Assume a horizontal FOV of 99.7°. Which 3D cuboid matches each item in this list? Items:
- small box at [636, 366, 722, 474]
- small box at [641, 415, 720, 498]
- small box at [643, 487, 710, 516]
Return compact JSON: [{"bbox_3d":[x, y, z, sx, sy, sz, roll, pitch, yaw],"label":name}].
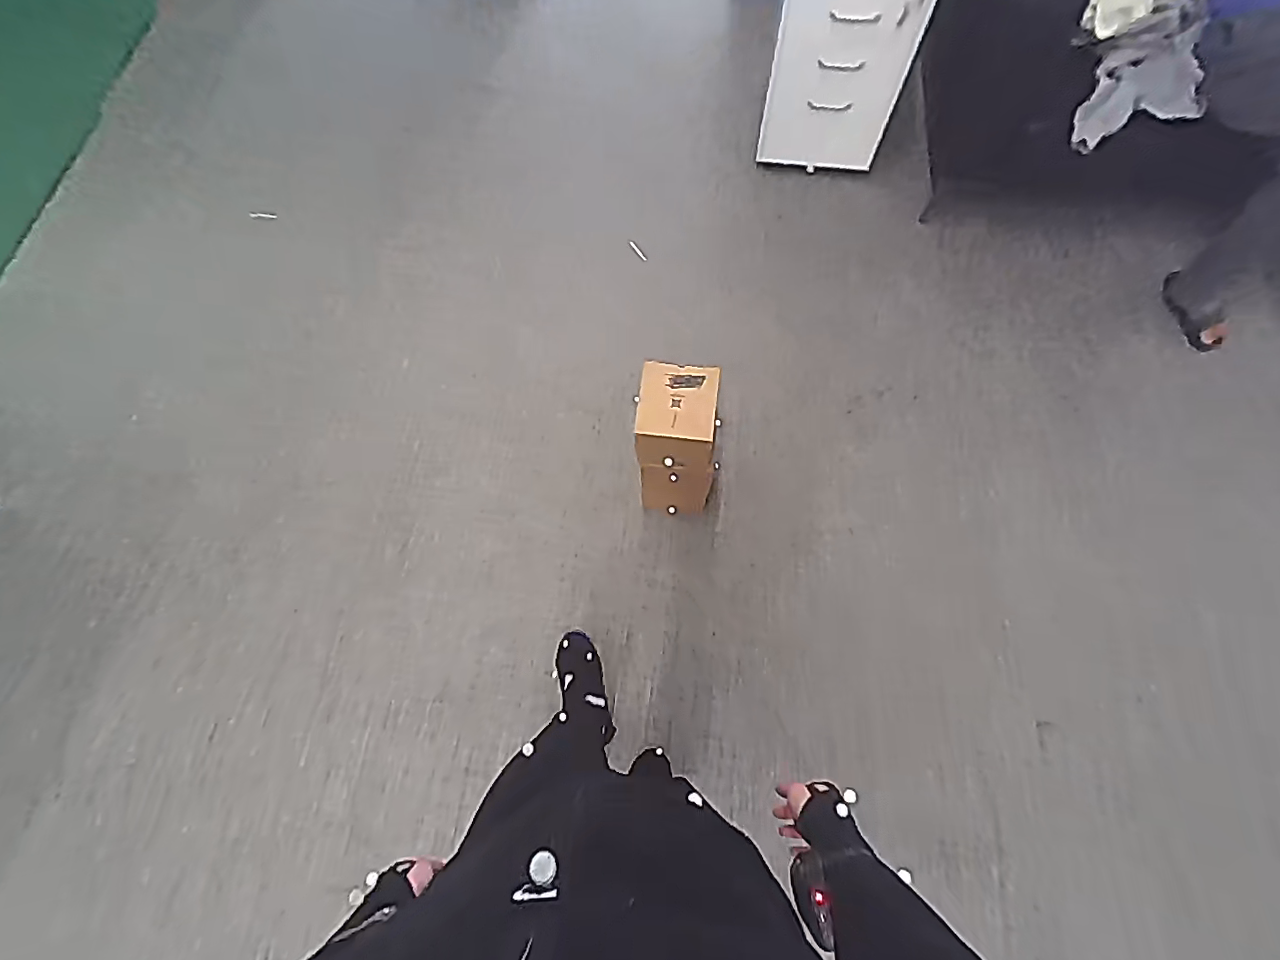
[{"bbox_3d":[0.086,-0.131,1.216,0.168,0.176,0.179,7,70,6],"label":"small box"},{"bbox_3d":[0.101,-0.062,1.364,0.179,0.176,0.168,7,69,4],"label":"small box"},{"bbox_3d":[0.107,-0.004,1.517,0.179,0.176,0.168,7,68,5],"label":"small box"}]
